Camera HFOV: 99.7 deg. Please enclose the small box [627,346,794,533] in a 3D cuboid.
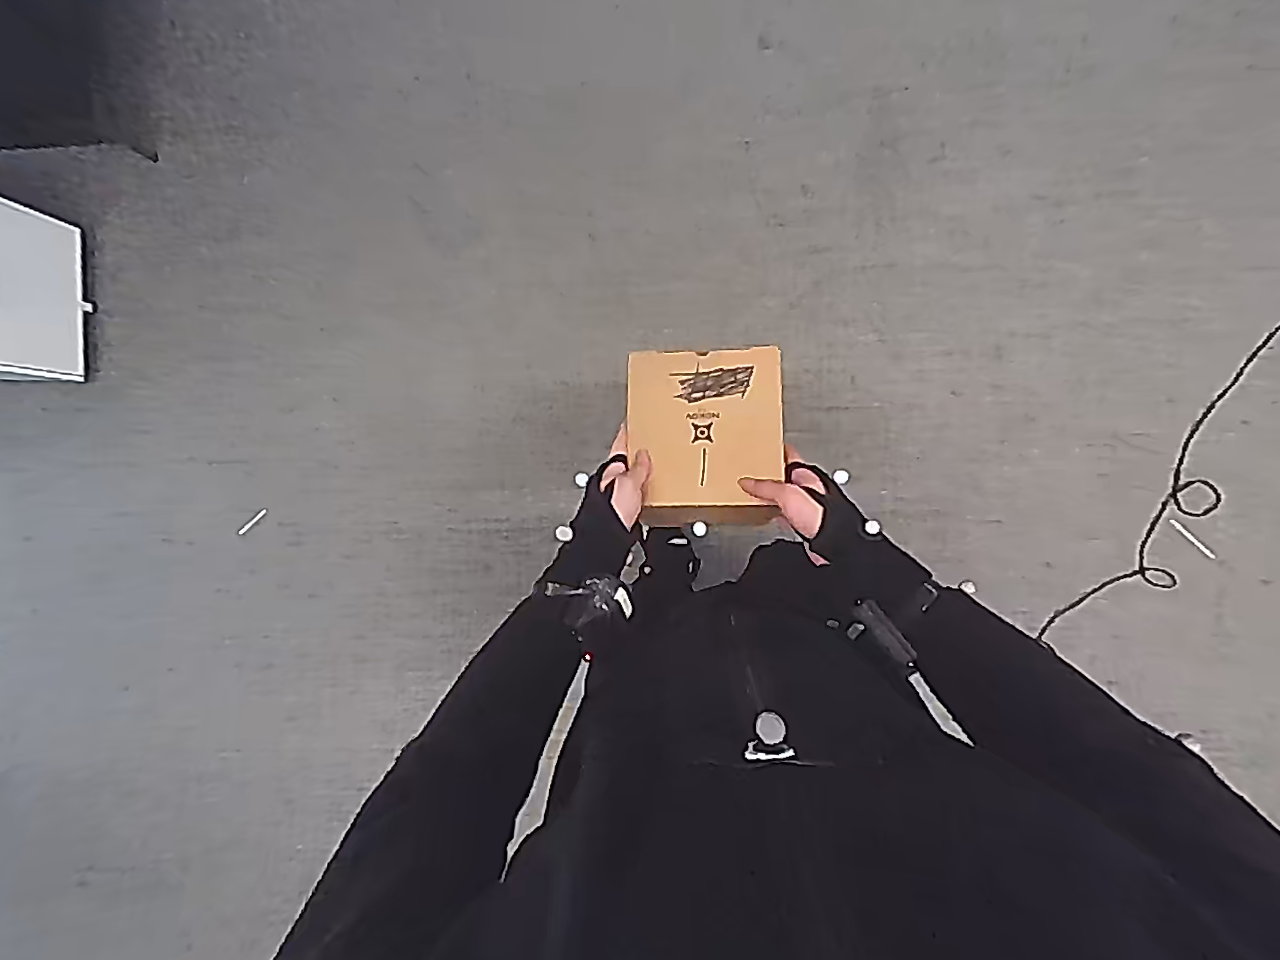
[{"bbox_3d":[0.083,-0.040,0.639,0.168,0.176,0.179,3,78,8],"label":"small box"}]
